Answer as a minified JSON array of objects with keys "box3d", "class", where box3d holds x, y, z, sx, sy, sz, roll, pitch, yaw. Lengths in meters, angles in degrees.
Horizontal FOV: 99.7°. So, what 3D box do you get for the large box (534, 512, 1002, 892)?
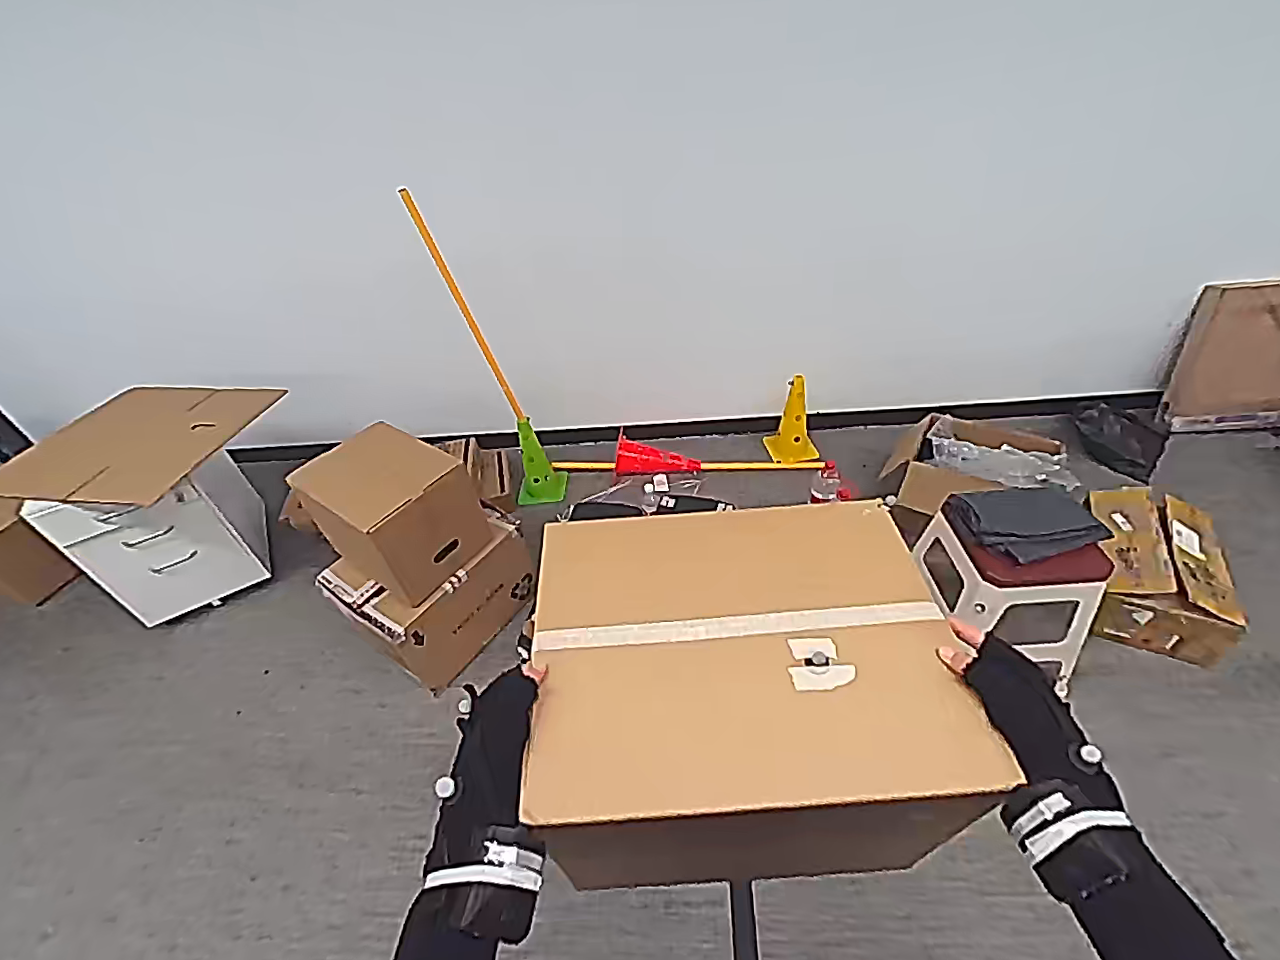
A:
[{"box3d":[0.104,0.267,0.656,0.408,0.320,0.320,-4,45,0],"class":"large box"}]
